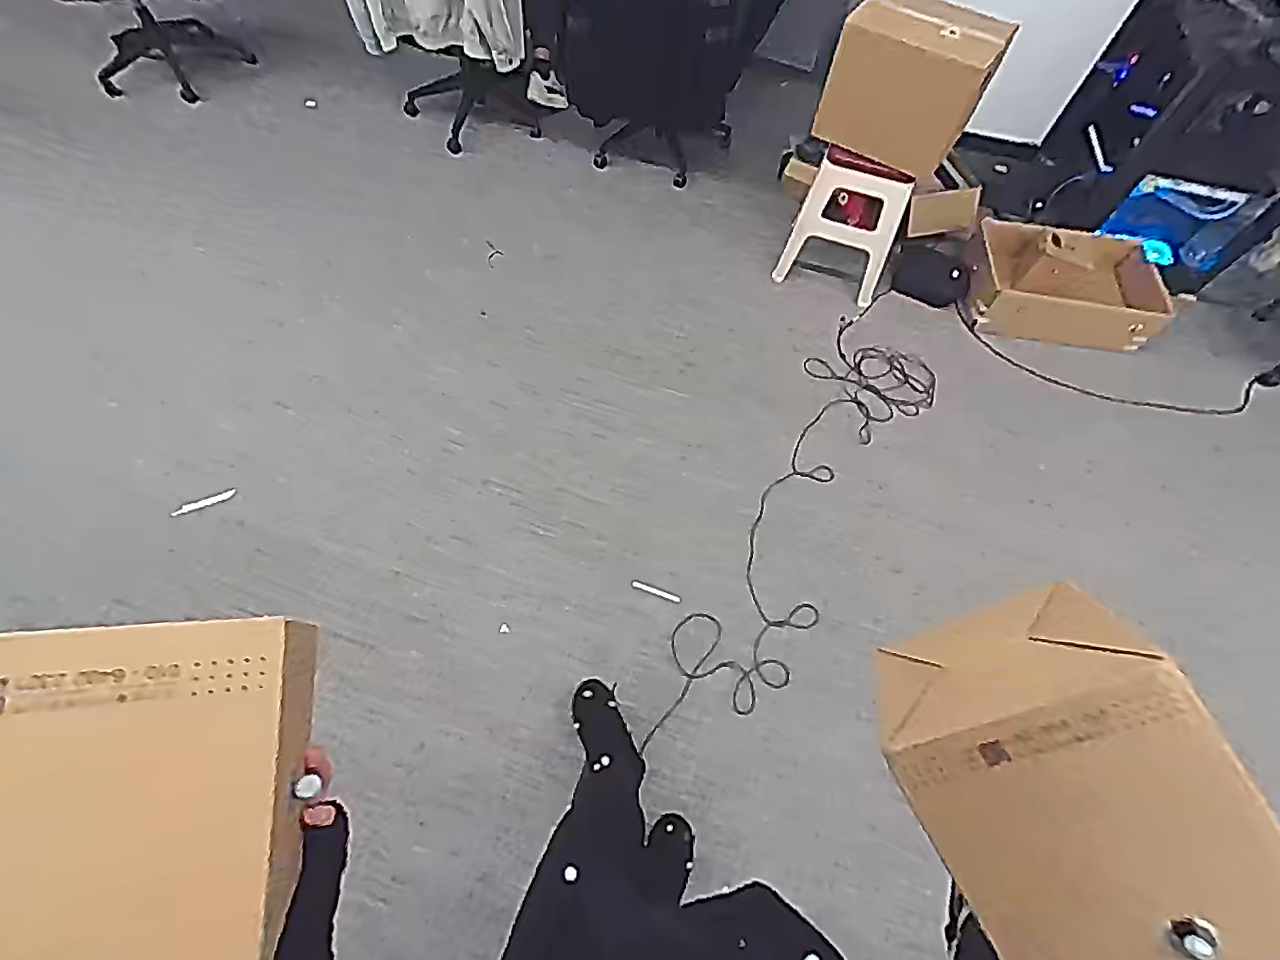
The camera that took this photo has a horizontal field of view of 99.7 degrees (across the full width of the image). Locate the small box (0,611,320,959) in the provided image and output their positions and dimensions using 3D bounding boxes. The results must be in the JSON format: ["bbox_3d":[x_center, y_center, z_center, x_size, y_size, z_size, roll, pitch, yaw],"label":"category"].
[{"bbox_3d":[-0.280,0.164,0.294,0.168,0.179,0.176,2,75,-24],"label":"small box"}]
